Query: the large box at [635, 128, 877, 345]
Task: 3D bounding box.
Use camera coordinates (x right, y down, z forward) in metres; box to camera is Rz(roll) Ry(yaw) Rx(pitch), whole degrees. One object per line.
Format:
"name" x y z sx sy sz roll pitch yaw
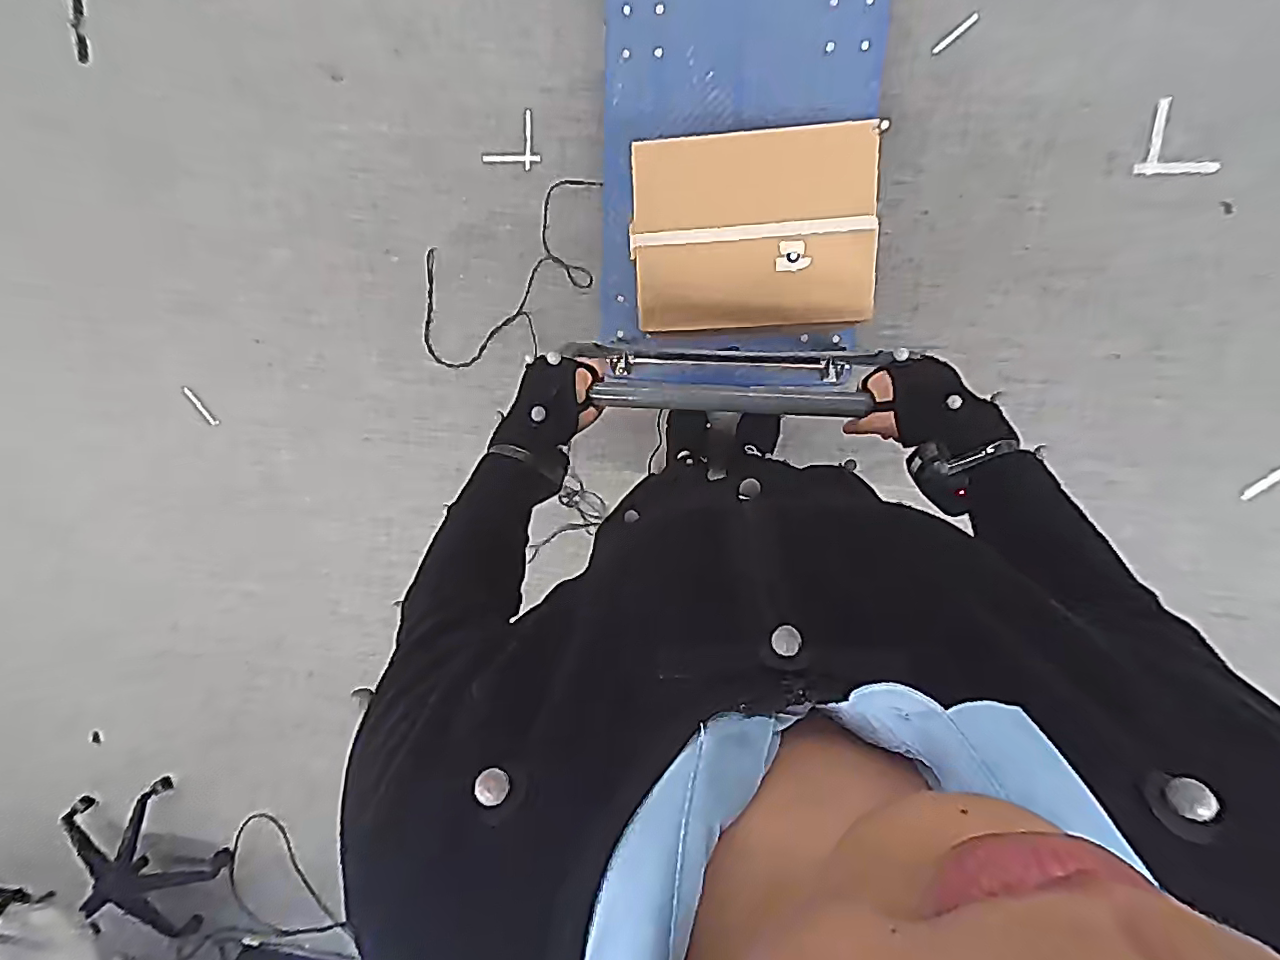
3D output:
"large box" 0.210 -0.445 1.074 0.408 0.320 0.320 -1 102 6
